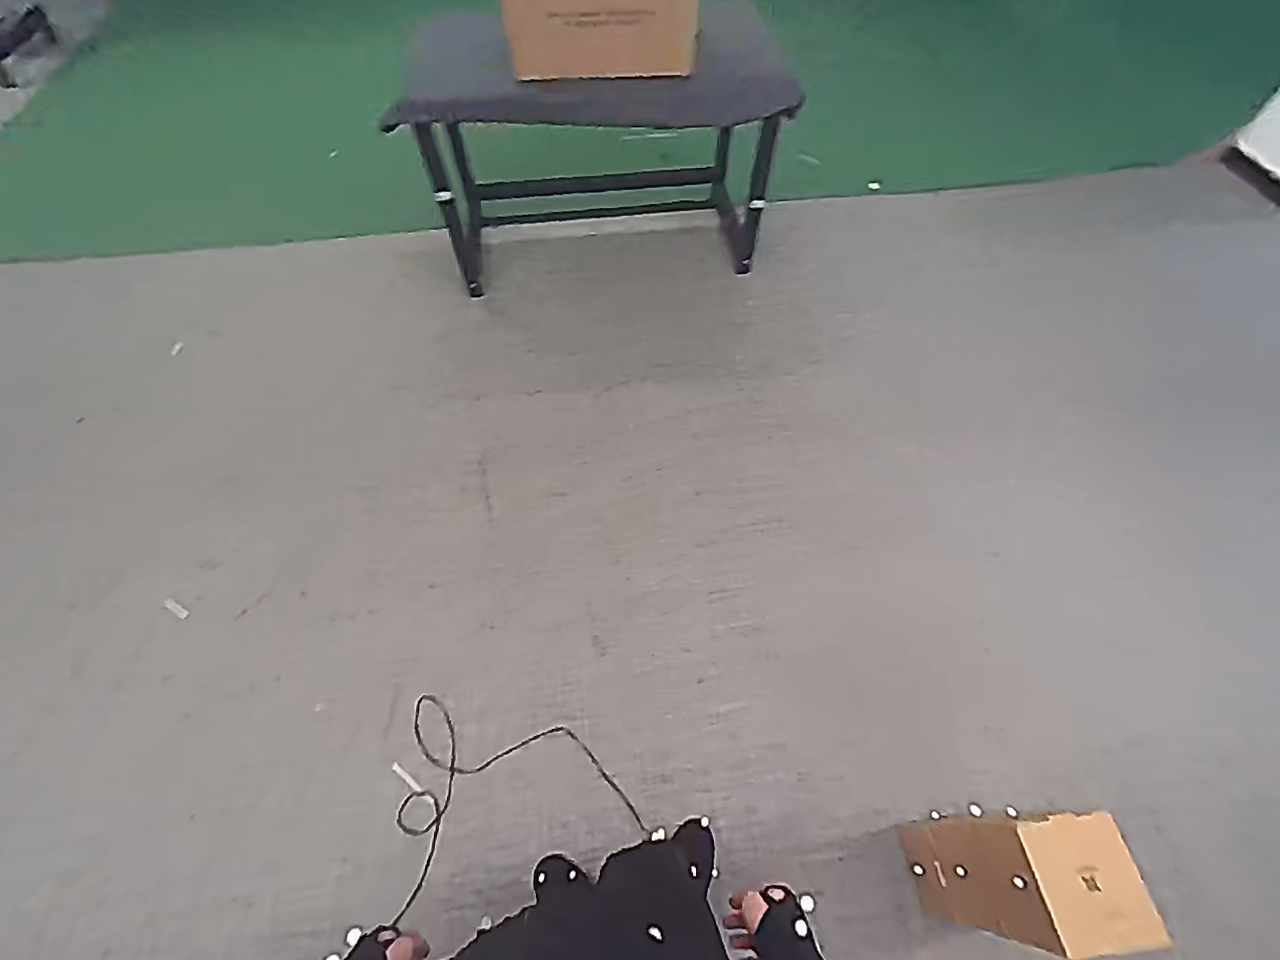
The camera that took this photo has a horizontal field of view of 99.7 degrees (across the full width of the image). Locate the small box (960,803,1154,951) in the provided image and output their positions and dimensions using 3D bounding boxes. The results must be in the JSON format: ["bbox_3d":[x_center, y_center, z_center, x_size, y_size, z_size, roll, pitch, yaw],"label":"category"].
[{"bbox_3d":[0.694,0.667,0.930,0.168,0.176,0.179,-6,61,-4],"label":"small box"}]

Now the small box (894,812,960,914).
[{"bbox_3d":[0.695,0.842,1.205,0.179,0.176,0.168,-6,60,-4],"label":"small box"}]

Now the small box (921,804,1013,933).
[{"bbox_3d":[0.696,0.753,1.066,0.168,0.176,0.179,-6,60,-5],"label":"small box"}]
